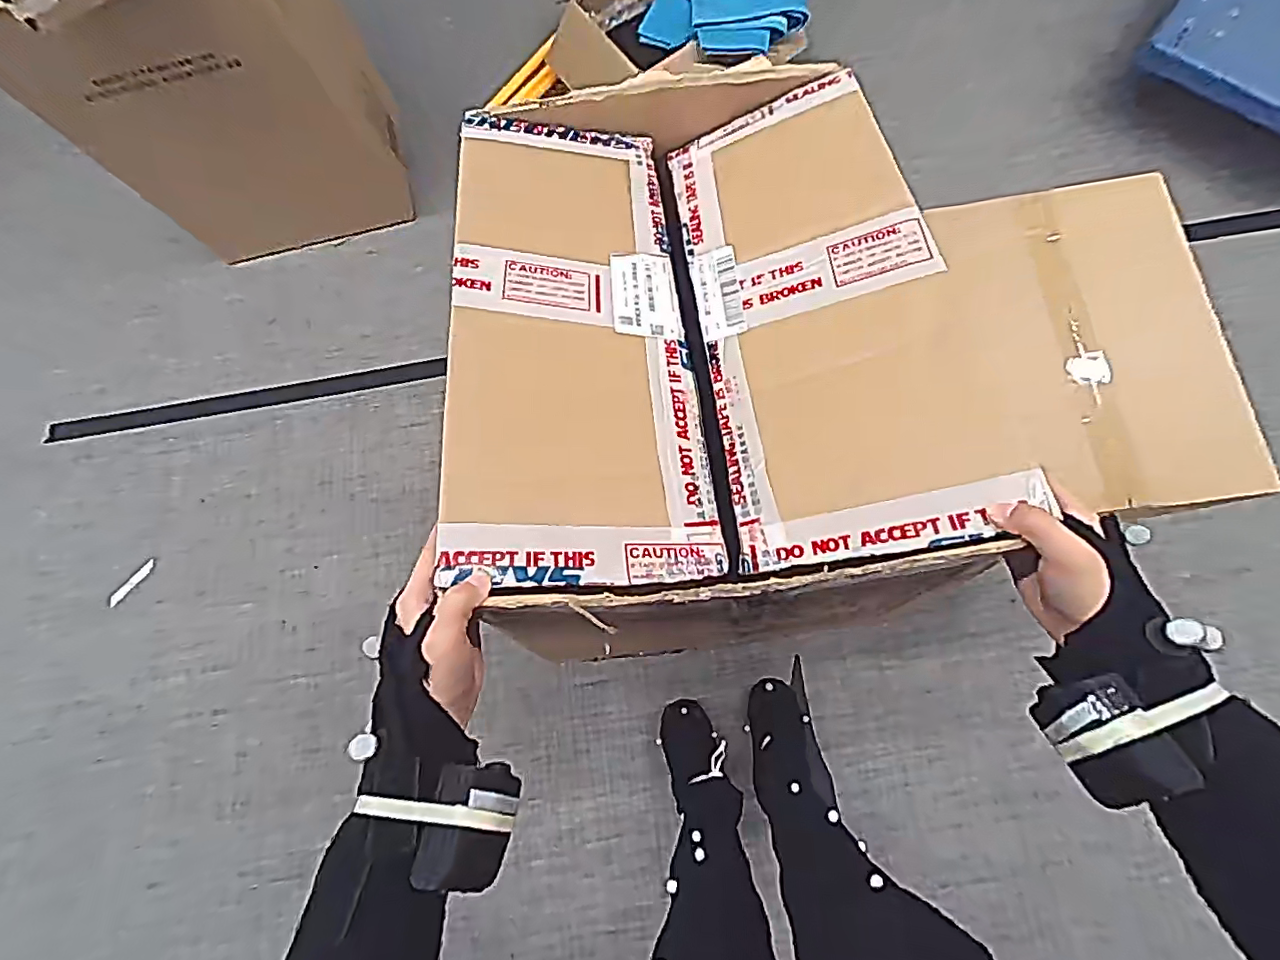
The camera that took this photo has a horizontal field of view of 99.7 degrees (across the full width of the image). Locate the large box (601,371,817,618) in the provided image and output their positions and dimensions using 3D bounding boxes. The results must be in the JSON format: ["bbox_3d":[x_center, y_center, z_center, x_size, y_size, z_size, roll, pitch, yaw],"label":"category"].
[{"bbox_3d":[0.119,0.045,1.093,0.320,0.320,0.408,-10,78,2],"label":"large box"}]
